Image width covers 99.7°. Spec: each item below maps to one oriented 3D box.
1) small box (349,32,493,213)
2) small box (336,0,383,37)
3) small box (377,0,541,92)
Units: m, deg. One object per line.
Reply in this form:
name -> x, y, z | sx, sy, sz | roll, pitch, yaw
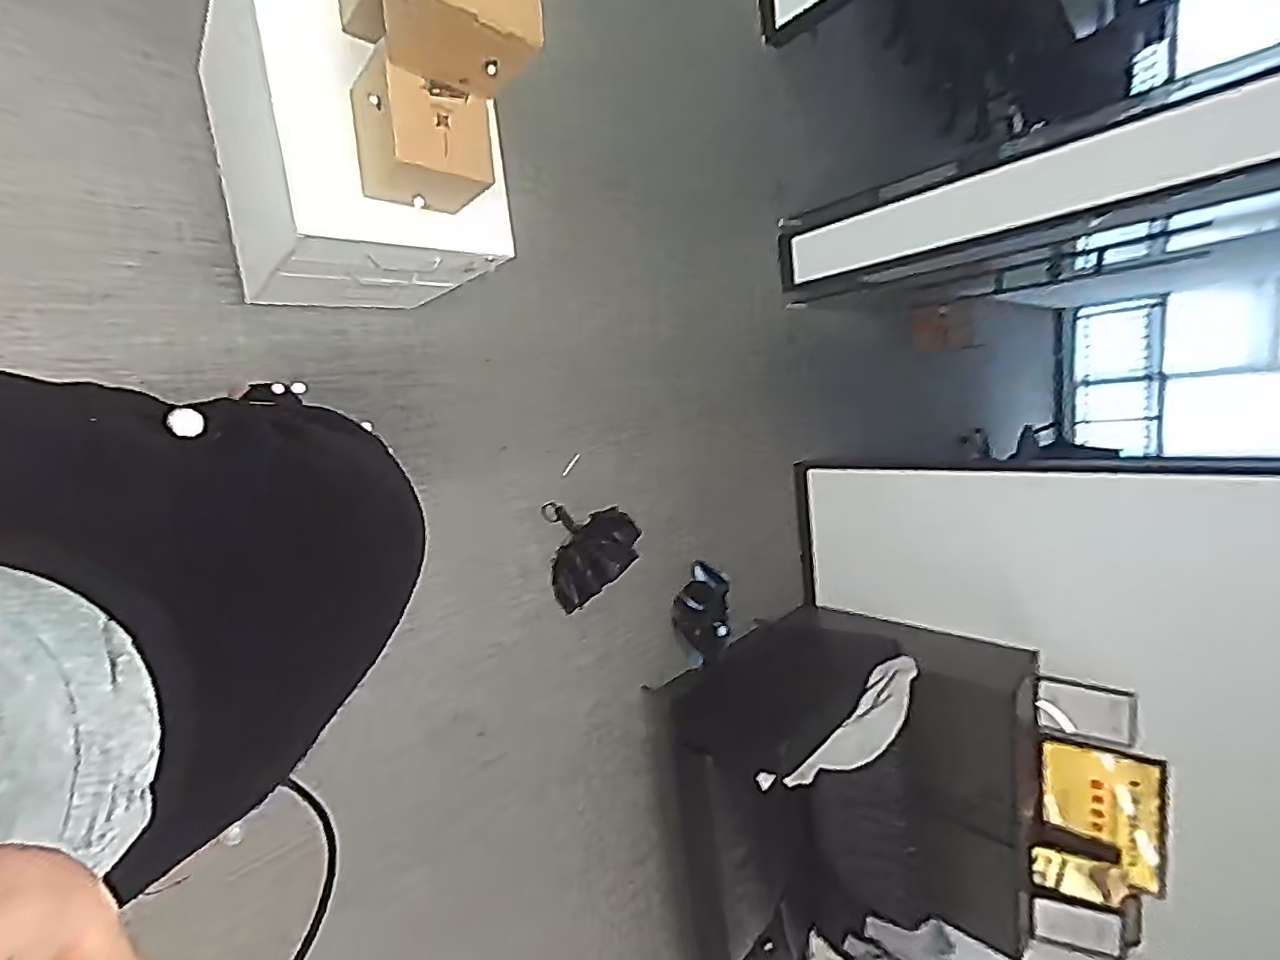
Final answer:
small box -> -0.366, -0.574, 0.899 | 0.168, 0.176, 0.179 | -11, 100, -42
small box -> -0.385, -0.831, 0.865 | 0.168, 0.176, 0.179 | -14, 104, -42
small box -> -0.262, -0.700, 0.767 | 0.168, 0.176, 0.179 | -12, 100, -43
